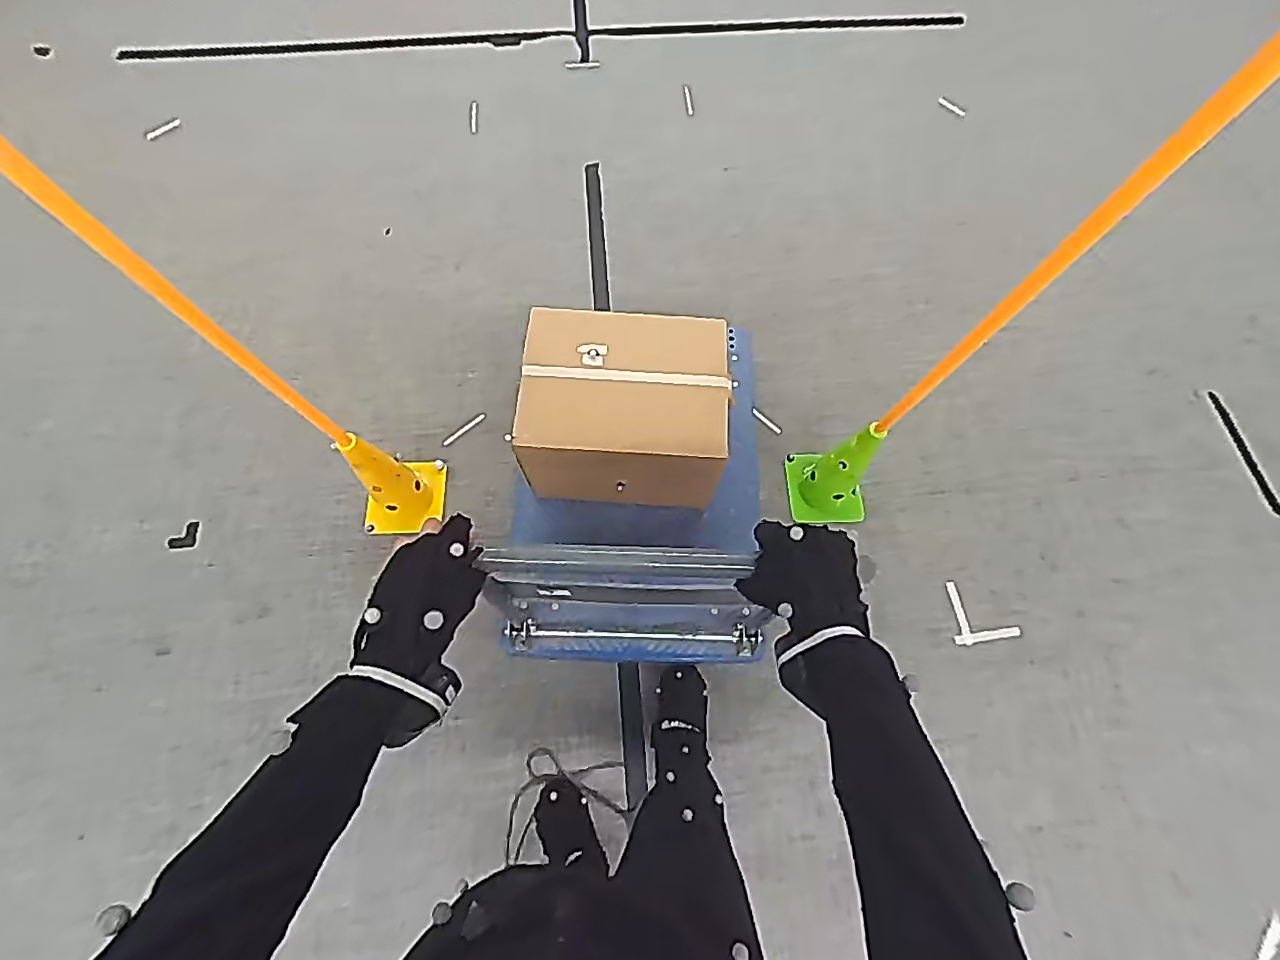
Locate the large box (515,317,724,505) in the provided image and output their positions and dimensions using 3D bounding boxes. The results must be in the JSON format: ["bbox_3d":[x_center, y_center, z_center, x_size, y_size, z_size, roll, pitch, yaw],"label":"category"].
[{"bbox_3d":[-0.033,-0.137,1.210,0.408,0.320,0.320,3,69,1],"label":"large box"}]

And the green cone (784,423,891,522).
[{"bbox_3d":[0.514,-0.040,1.342,0.202,0.368,0.200,0,69,-3],"label":"green cone"}]
